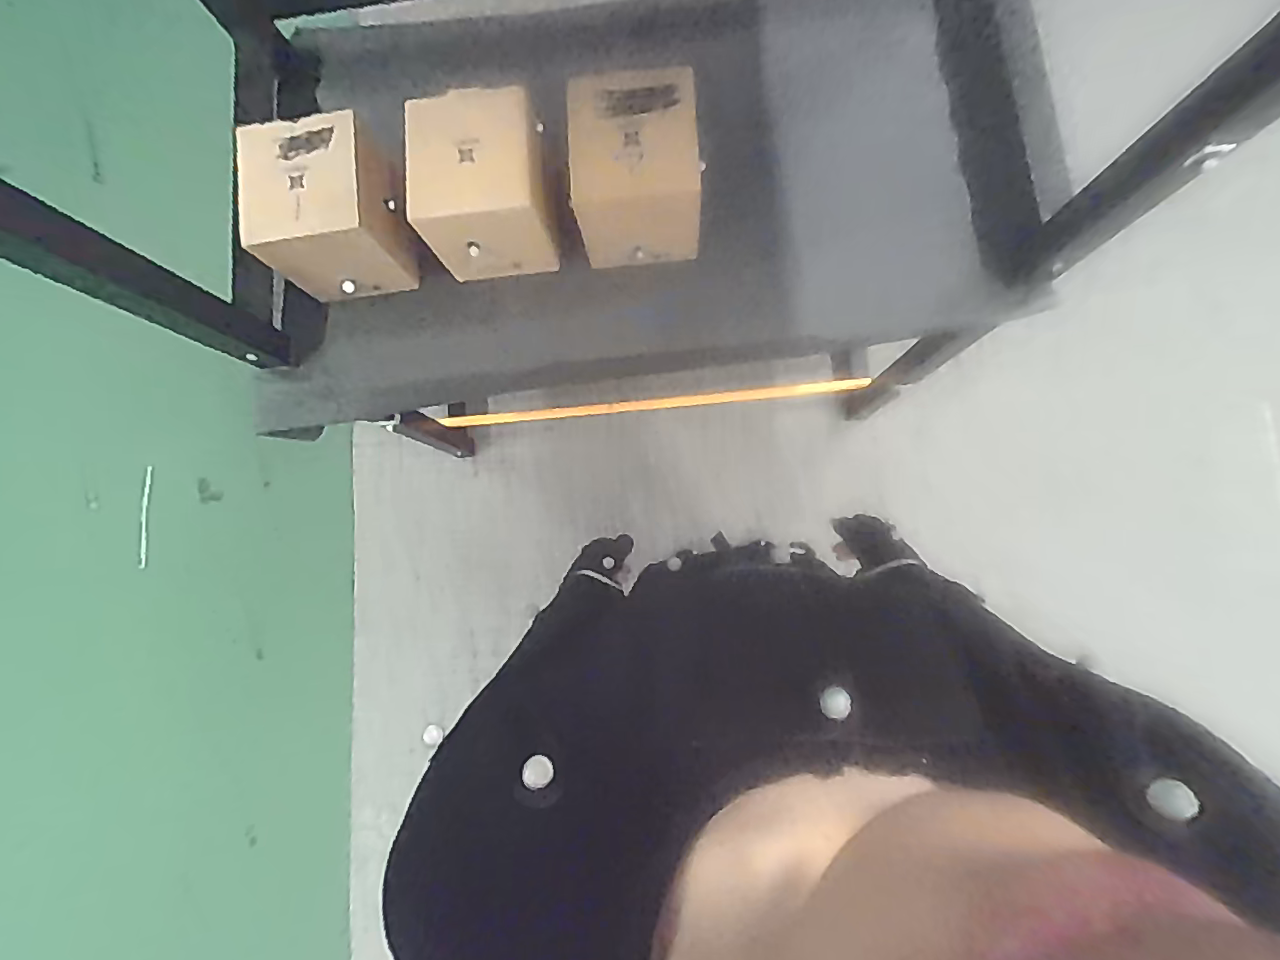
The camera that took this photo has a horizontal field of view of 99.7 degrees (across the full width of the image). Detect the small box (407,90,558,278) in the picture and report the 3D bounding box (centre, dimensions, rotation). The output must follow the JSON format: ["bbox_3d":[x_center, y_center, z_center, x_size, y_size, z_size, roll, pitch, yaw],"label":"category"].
[{"bbox_3d":[-0.217,-0.409,0.780,0.168,0.176,0.179,-5,81,3],"label":"small box"}]

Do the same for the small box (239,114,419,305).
[{"bbox_3d":[-0.442,-0.384,0.791,0.168,0.176,0.179,-7,82,3],"label":"small box"}]
